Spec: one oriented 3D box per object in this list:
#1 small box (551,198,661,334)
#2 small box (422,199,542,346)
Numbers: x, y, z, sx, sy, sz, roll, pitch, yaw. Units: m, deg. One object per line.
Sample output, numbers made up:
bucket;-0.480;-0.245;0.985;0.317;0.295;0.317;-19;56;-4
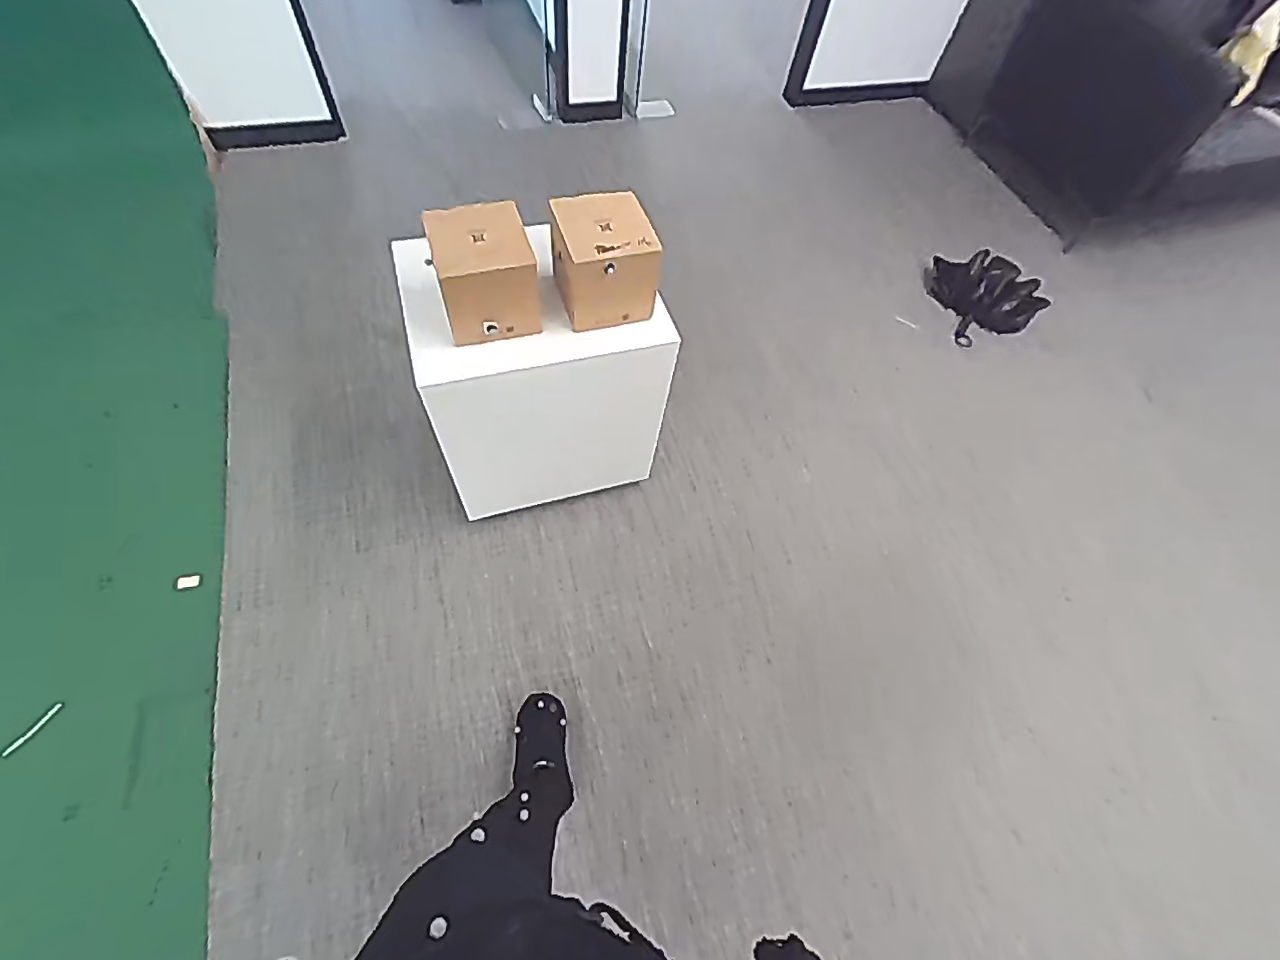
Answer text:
small box;-0.073;-0.412;1.046;0.168;0.176;0.179;-14;62;-14
small box;-0.282;-0.376;0.988;0.168;0.176;0.179;-16;65;-14
